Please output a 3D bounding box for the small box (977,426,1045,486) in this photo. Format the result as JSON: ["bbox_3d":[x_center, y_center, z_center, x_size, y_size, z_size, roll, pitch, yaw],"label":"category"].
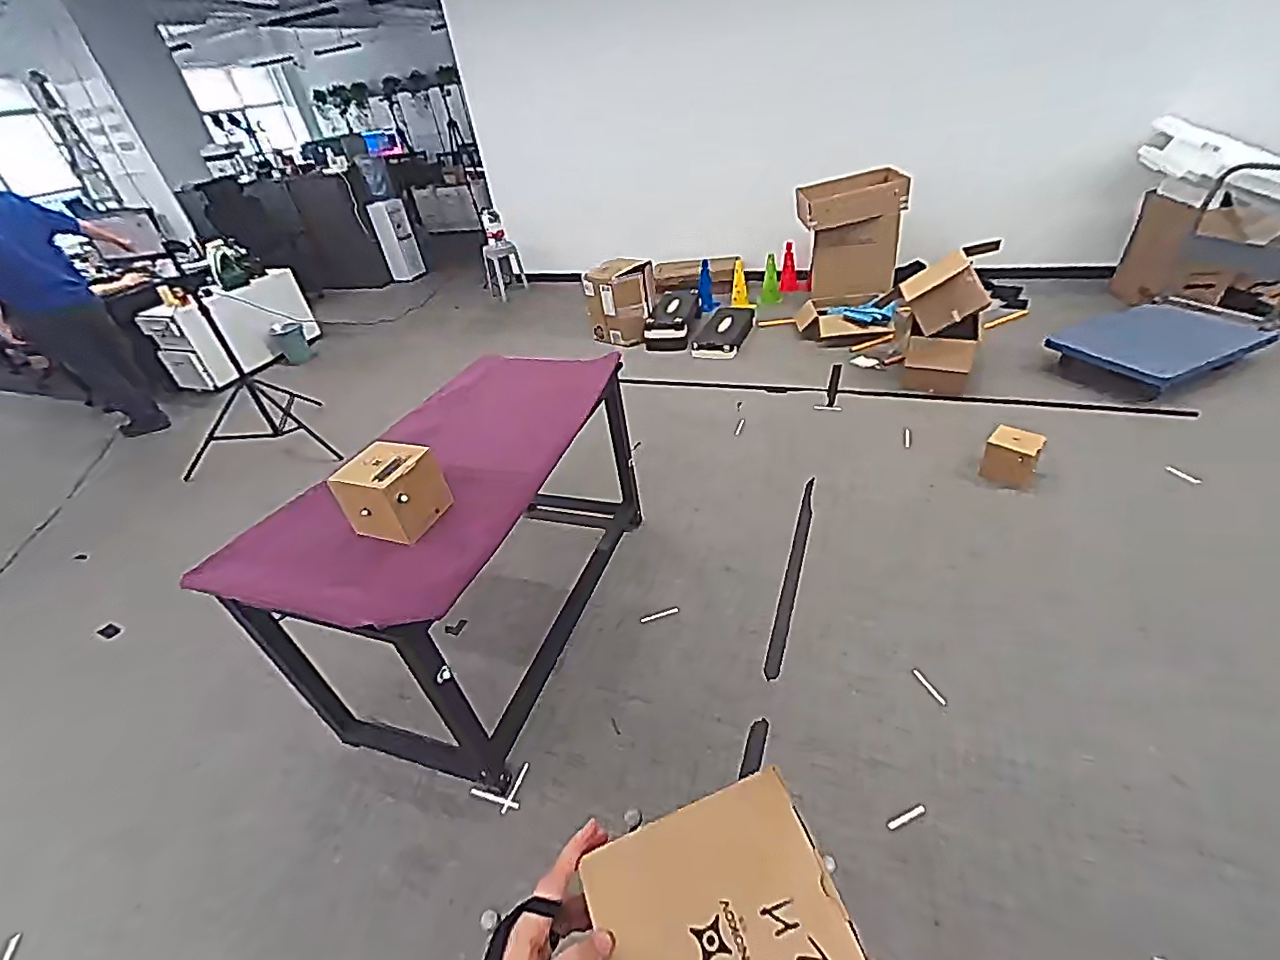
[{"bbox_3d":[1.558,-0.099,2.279,0.168,0.176,0.179,-34,44,-31],"label":"small box"}]
